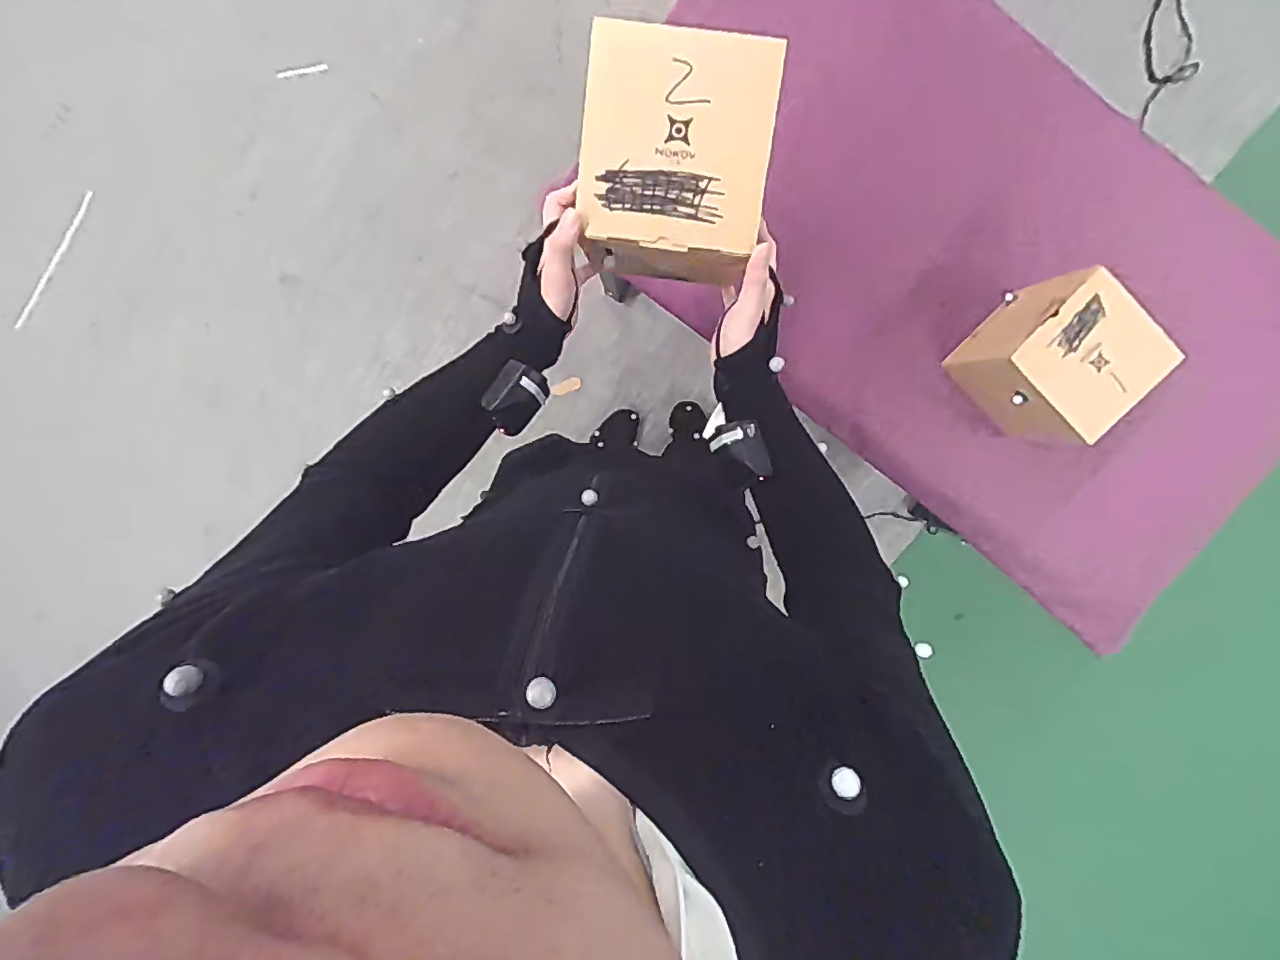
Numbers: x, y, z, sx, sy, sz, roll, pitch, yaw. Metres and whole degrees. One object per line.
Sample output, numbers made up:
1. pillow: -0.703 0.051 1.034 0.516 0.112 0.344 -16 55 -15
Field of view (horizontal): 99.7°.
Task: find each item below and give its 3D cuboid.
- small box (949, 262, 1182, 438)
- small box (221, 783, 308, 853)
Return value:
1. small box: 0.608 -0.182 0.800 0.179 0.176 0.168 43 97 -7
2. small box: -1.225 1.116 1.733 0.179 0.176 0.168 41 97 -6
